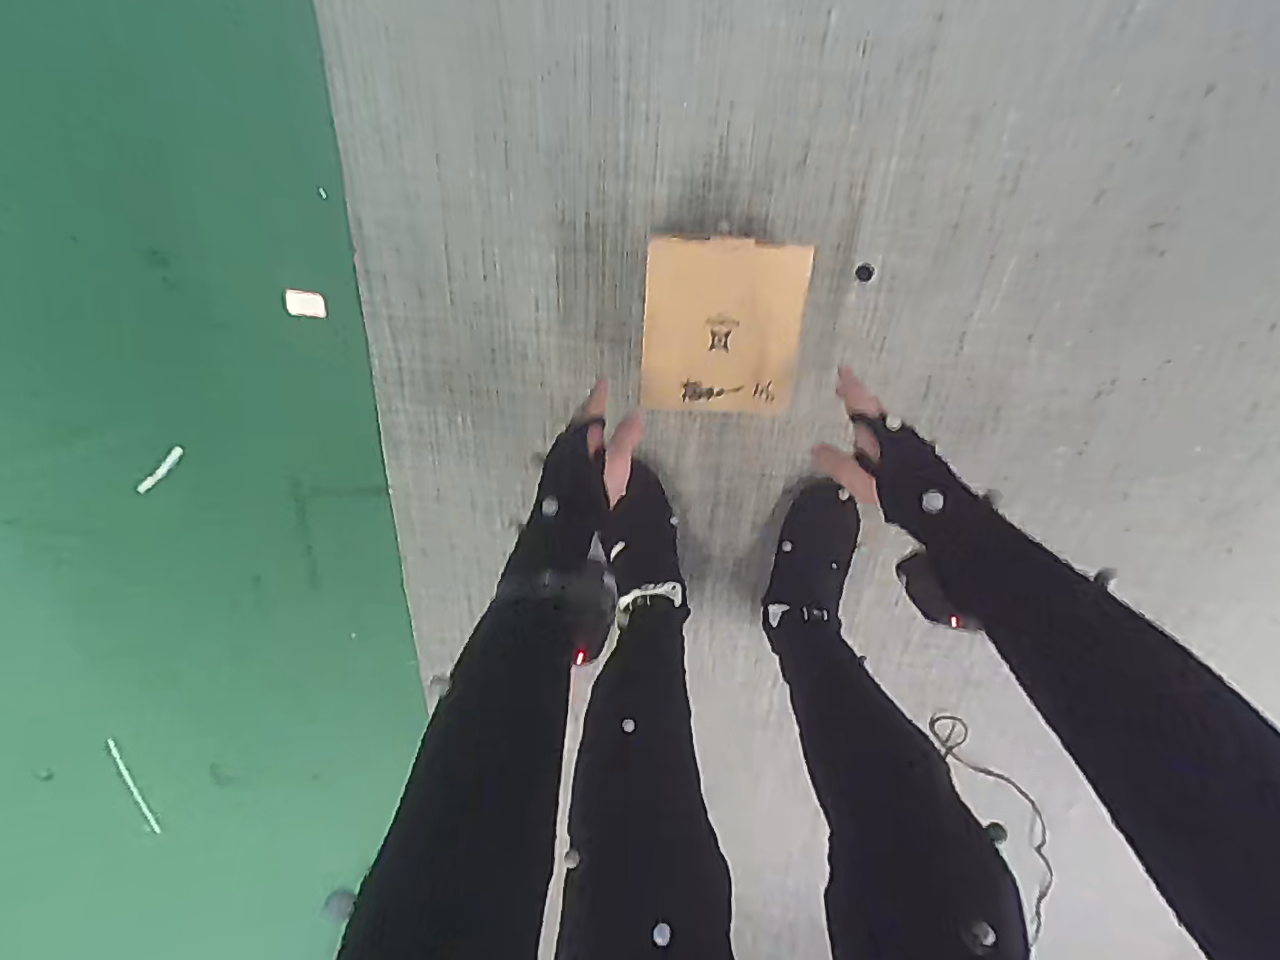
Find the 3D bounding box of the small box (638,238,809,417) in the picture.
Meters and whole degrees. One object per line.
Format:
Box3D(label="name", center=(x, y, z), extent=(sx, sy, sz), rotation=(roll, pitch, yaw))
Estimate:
Box3D(label="small box", center=(0.083, -0.185, 0.634), extent=(0.168, 0.176, 0.179), rotation=(3, 115, 1))
